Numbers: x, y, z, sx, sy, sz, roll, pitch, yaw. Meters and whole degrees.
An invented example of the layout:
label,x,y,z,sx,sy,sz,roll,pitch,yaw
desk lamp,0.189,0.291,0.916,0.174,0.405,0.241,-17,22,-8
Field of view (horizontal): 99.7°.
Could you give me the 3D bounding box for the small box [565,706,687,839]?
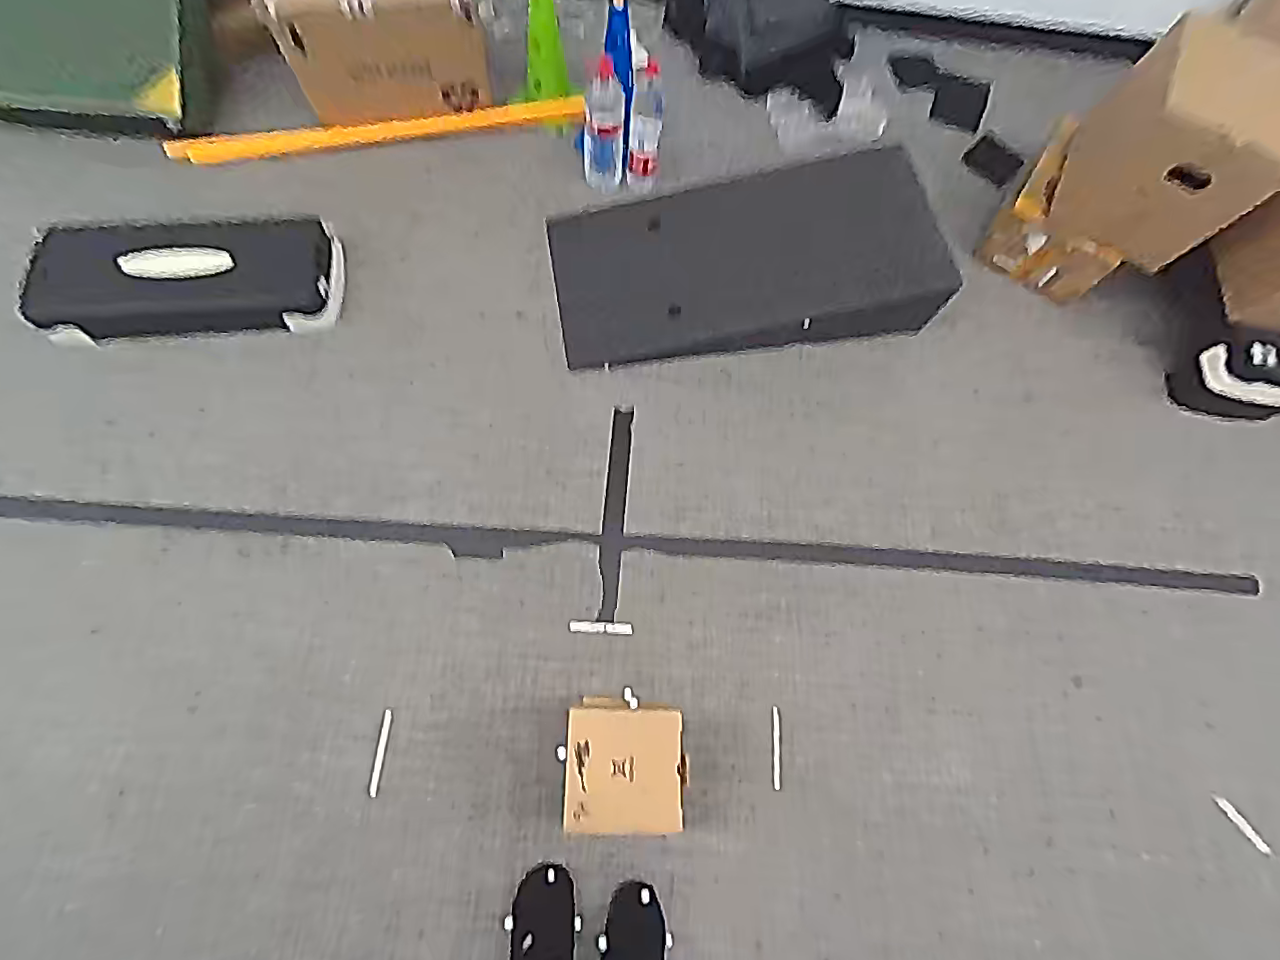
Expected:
label,x,y,z,sx,sy,sz,roll,pitch,yaw
small box,-0.026,0.459,0.870,0.179,0.176,0.168,3,70,-5
